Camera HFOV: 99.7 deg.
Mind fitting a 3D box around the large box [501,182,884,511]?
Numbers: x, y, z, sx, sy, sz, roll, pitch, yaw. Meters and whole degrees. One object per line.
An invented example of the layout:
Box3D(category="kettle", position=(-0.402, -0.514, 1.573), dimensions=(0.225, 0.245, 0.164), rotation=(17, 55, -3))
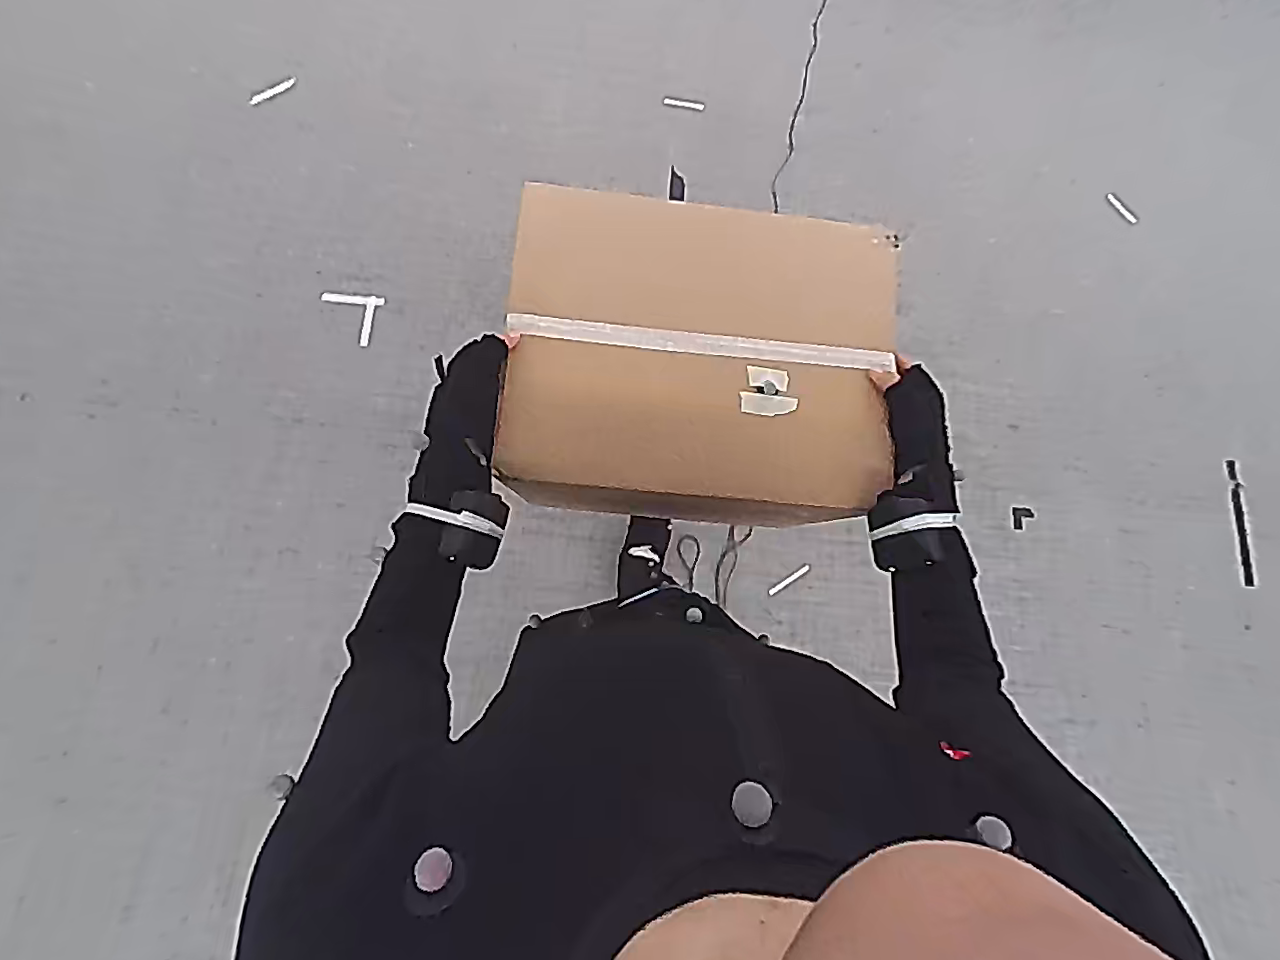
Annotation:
Box3D(category="large box", position=(0.051, -0.135, 0.720), dimensions=(0.408, 0.320, 0.320), rotation=(6, 83, -5))
